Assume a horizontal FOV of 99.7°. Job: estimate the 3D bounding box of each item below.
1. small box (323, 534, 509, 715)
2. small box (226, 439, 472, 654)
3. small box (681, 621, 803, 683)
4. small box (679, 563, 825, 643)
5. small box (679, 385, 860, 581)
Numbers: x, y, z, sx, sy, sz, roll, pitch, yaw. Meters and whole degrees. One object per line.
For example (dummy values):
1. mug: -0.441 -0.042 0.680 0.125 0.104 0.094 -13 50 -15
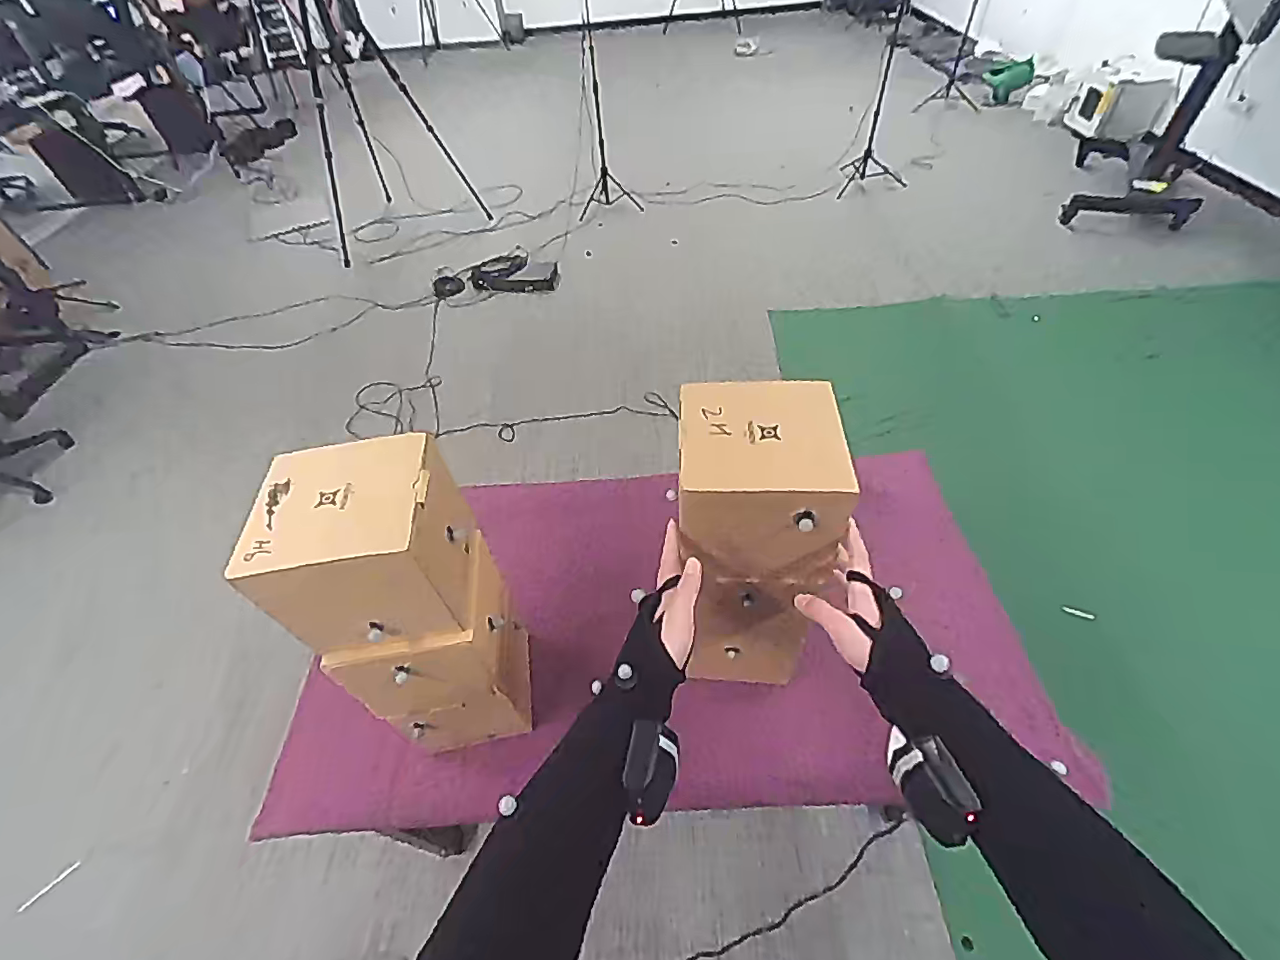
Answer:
1. small box: -0.280 0.196 0.726 0.179 0.176 0.168 -9 49 -2
2. small box: -0.302 0.078 0.613 0.179 0.176 0.168 -8 48 -2
3. small box: 0.158 0.220 0.883 0.179 0.176 0.168 2 50 6
4. small box: 0.146 0.117 0.758 0.179 0.176 0.168 1 50 6
5. small box: 0.135 0.007 0.635 0.179 0.176 0.168 0 50 5
